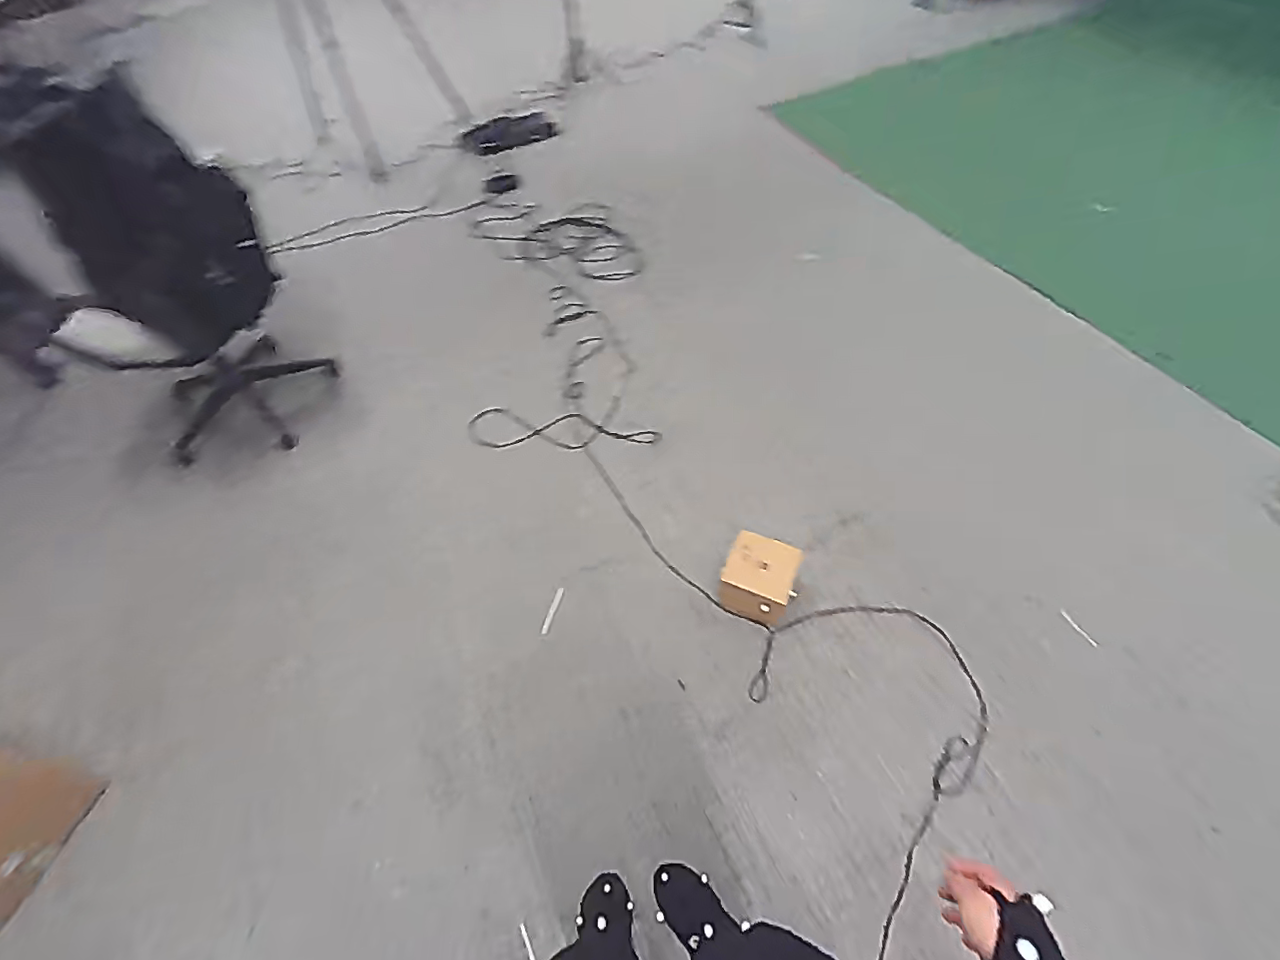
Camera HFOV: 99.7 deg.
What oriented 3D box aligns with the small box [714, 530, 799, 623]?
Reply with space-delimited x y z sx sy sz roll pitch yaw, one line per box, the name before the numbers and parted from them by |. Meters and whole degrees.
small box | 0.310 0.267 1.461 0.179 0.176 0.168 18 58 17
